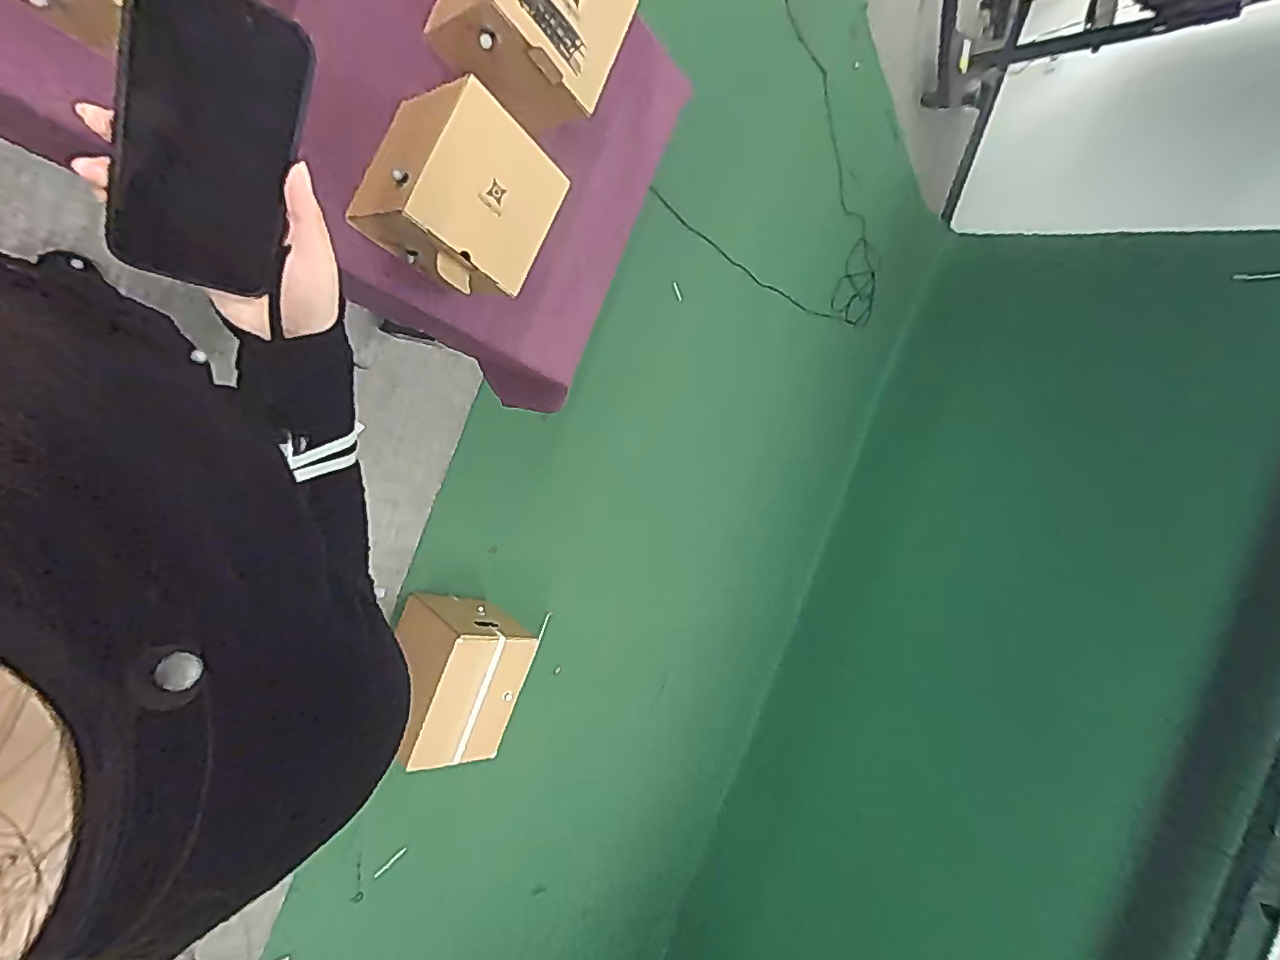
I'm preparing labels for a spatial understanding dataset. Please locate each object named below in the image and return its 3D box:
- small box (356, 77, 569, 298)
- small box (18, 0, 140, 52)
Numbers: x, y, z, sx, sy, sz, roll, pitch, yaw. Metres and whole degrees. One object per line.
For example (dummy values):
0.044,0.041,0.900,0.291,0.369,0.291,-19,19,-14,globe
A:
-0.229,-0.359,0.691,0.168,0.176,0.179,28,85,-49,small box
-0.456,-0.468,0.394,0.168,0.176,0.179,21,89,-51,small box
